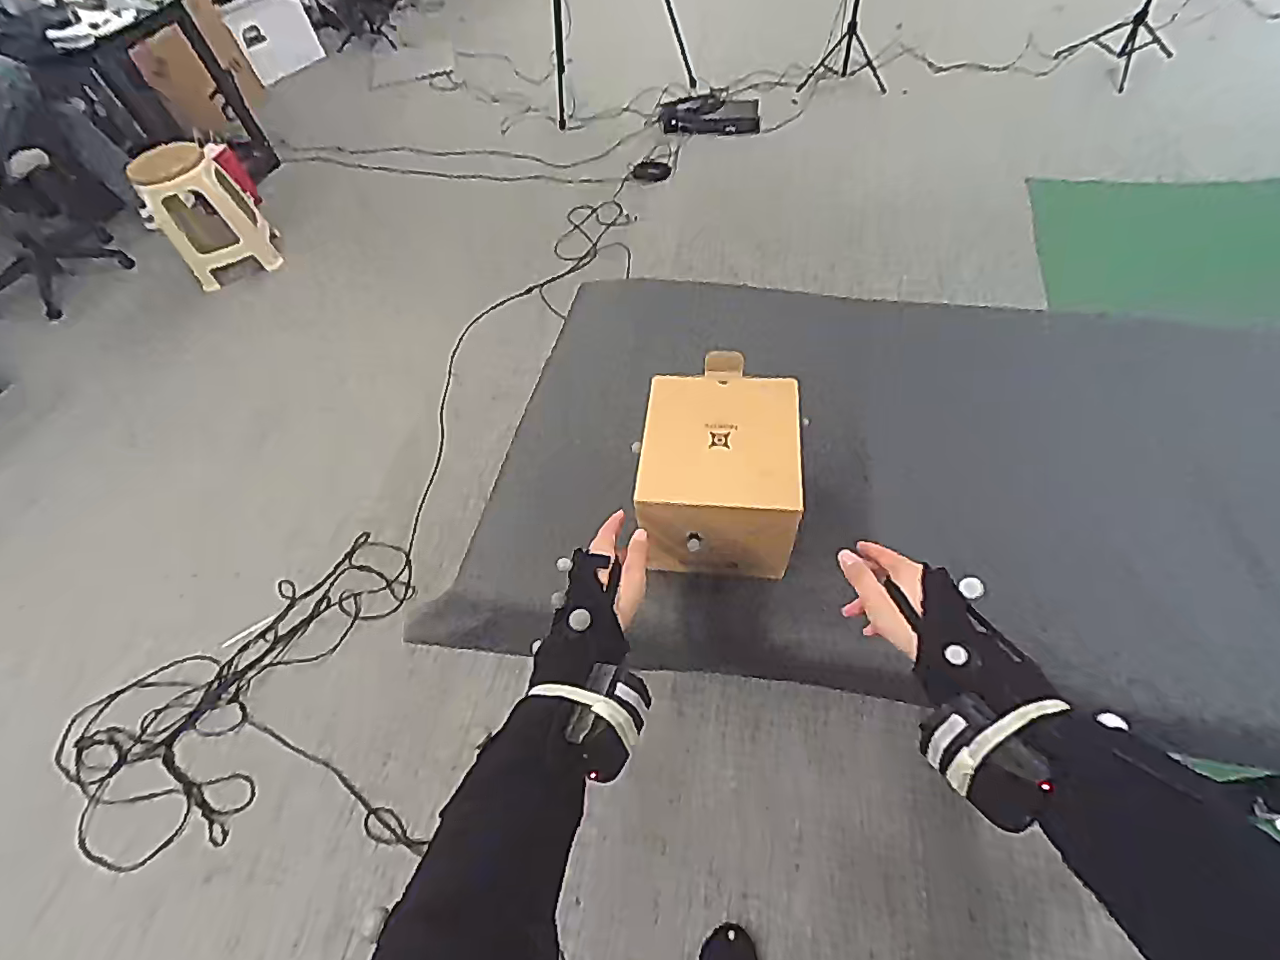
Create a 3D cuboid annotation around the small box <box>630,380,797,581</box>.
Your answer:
[{"bbox_3d":[0.089,0.004,0.635,0.168,0.176,0.179,3,55,8],"label":"small box"}]
